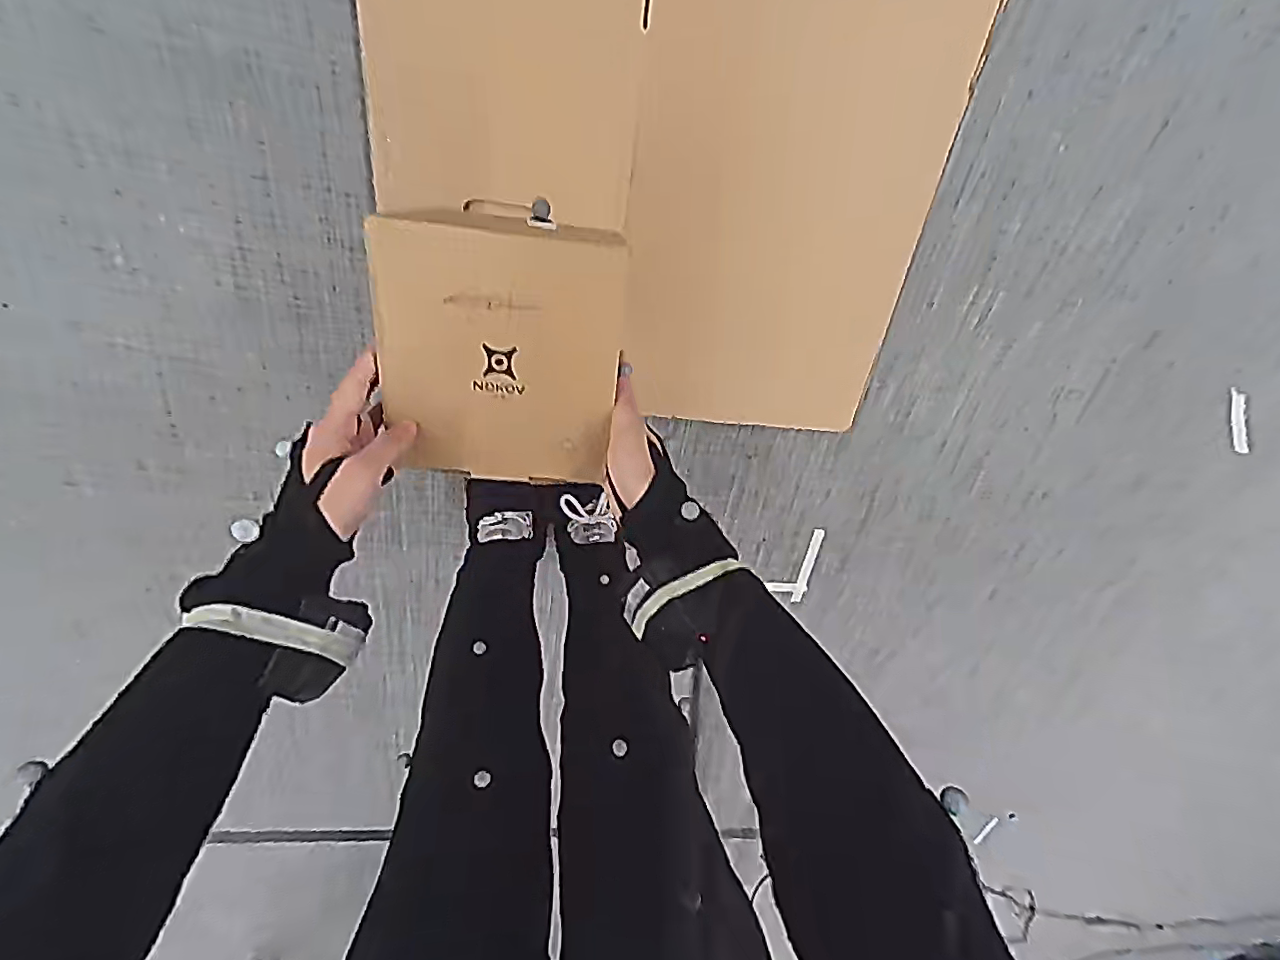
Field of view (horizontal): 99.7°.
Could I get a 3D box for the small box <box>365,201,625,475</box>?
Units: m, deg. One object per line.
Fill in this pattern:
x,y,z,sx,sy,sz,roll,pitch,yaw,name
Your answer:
-0.105,-0.124,0.450,0.168,0.176,0.179,4,117,-7,small box
